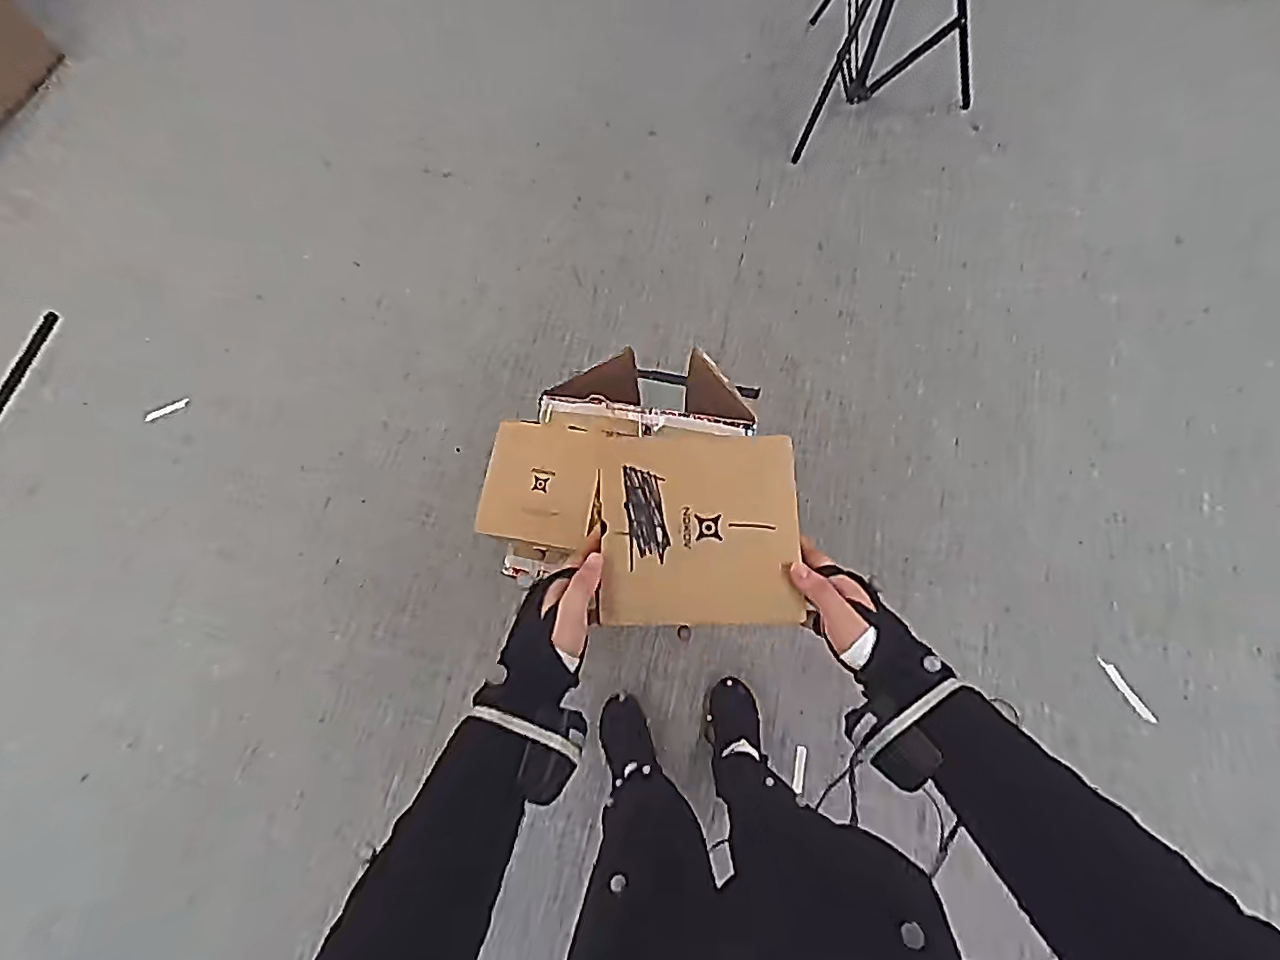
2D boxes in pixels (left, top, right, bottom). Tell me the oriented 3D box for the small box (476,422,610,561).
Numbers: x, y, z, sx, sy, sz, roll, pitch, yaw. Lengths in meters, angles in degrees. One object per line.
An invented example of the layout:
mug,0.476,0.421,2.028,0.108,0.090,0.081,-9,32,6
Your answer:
small box,-0.134,0.025,0.856,0.168,0.176,0.179,8,79,8

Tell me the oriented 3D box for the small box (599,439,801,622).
small box,0.052,0.061,0.558,0.179,0.176,0.168,-1,77,0
